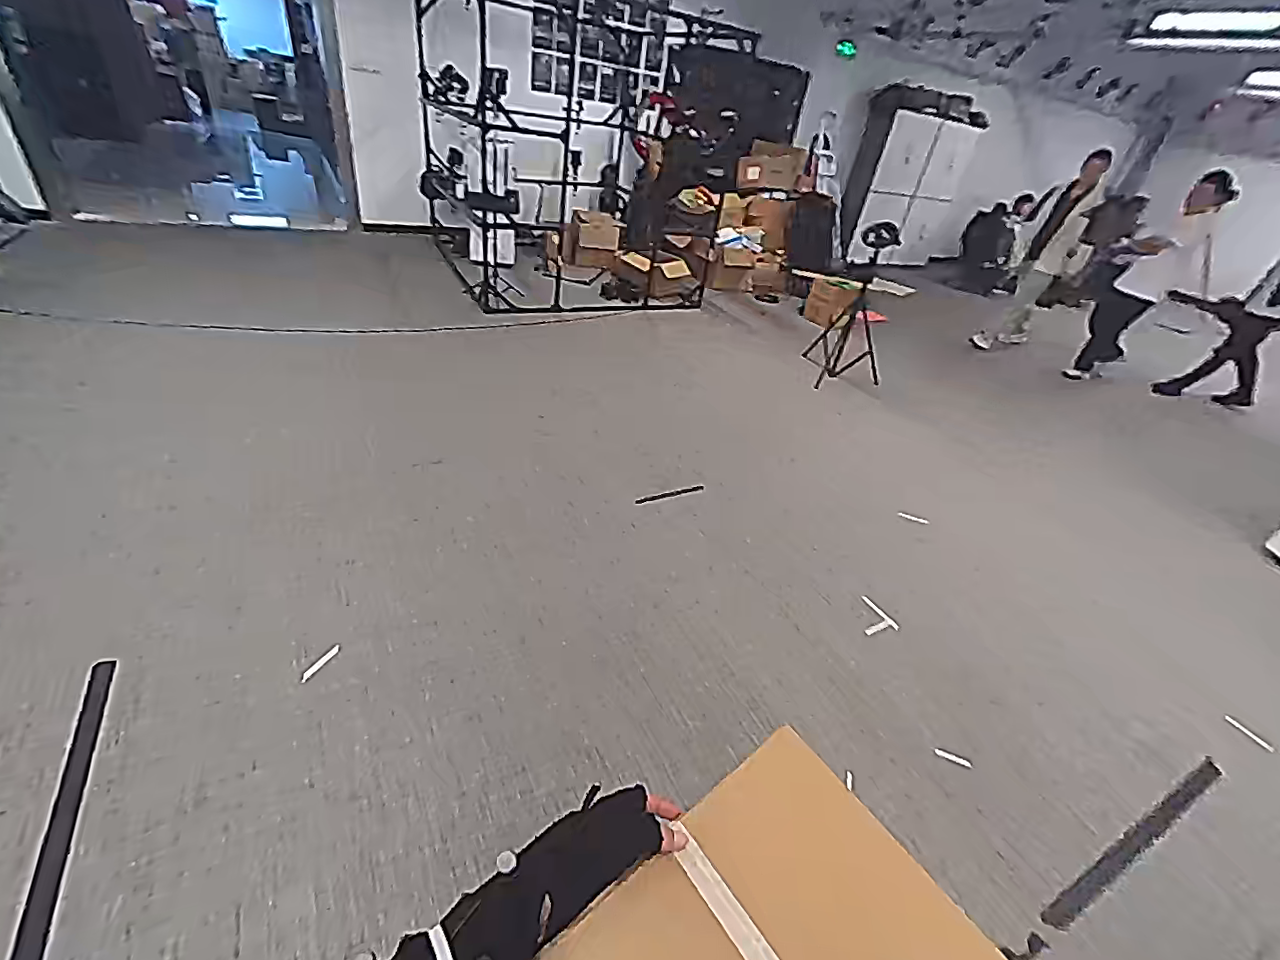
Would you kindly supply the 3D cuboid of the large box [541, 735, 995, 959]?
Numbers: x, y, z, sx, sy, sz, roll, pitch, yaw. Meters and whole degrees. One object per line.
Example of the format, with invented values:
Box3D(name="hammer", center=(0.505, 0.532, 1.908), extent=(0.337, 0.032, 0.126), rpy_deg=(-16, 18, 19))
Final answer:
Box3D(name="large box", center=(0.133, 0.534, 0.476), extent=(0.320, 0.320, 0.408), rpy_deg=(-25, 52, -31))
